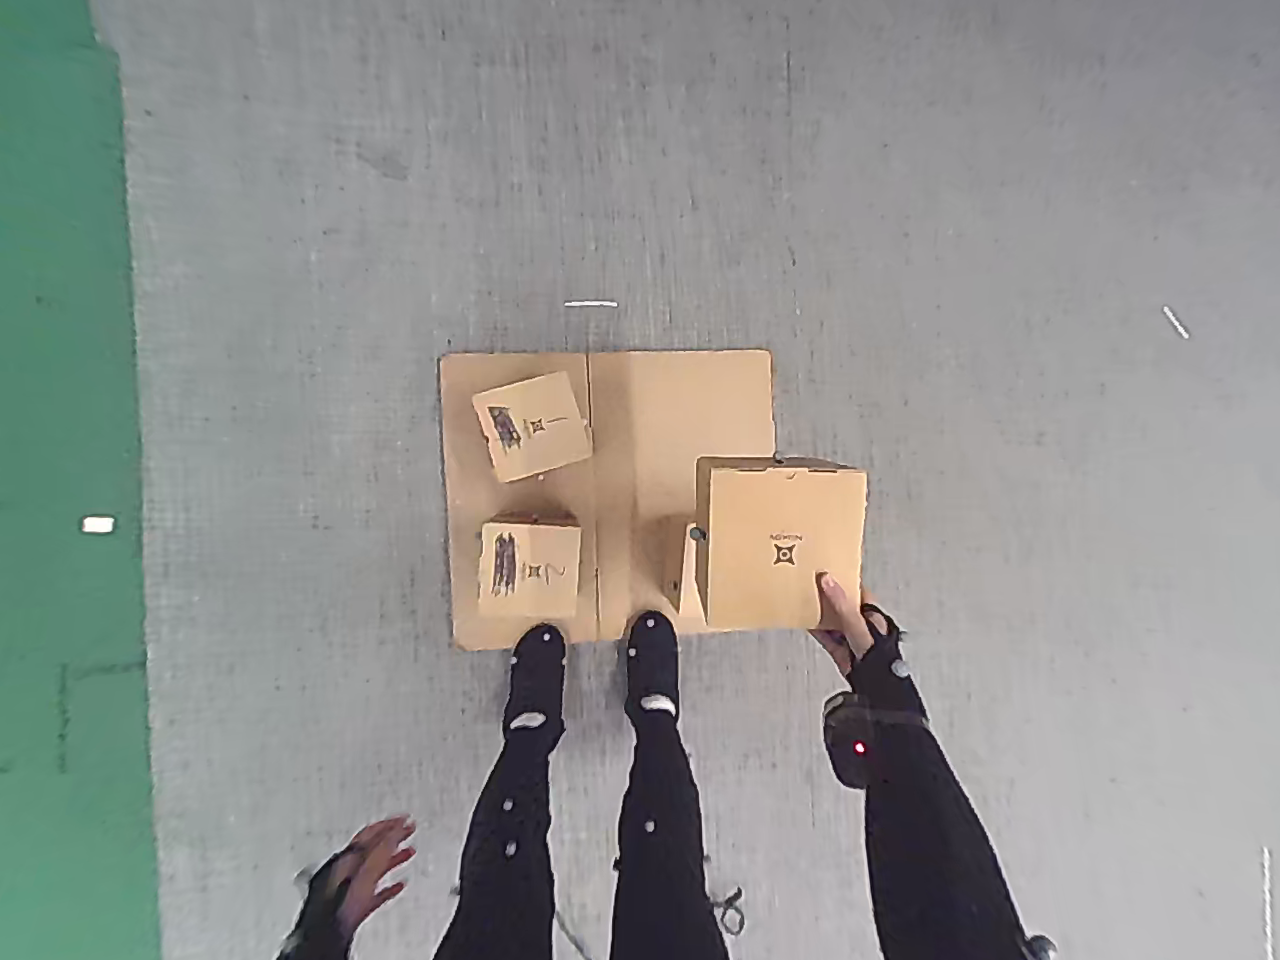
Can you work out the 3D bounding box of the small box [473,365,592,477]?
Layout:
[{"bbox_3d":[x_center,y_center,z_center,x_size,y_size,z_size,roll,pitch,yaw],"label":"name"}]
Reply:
[{"bbox_3d":[-0.199,-0.104,1.032,0.179,0.176,0.168,-17,93,-8],"label":"small box"}]

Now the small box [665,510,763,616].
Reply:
[{"bbox_3d":[0.147,0.159,1.076,0.168,0.176,0.179,5,90,-8],"label":"small box"}]

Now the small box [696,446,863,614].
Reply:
[{"bbox_3d":[0.158,0.051,0.665,0.168,0.176,0.179,1,95,2],"label":"small box"}]
